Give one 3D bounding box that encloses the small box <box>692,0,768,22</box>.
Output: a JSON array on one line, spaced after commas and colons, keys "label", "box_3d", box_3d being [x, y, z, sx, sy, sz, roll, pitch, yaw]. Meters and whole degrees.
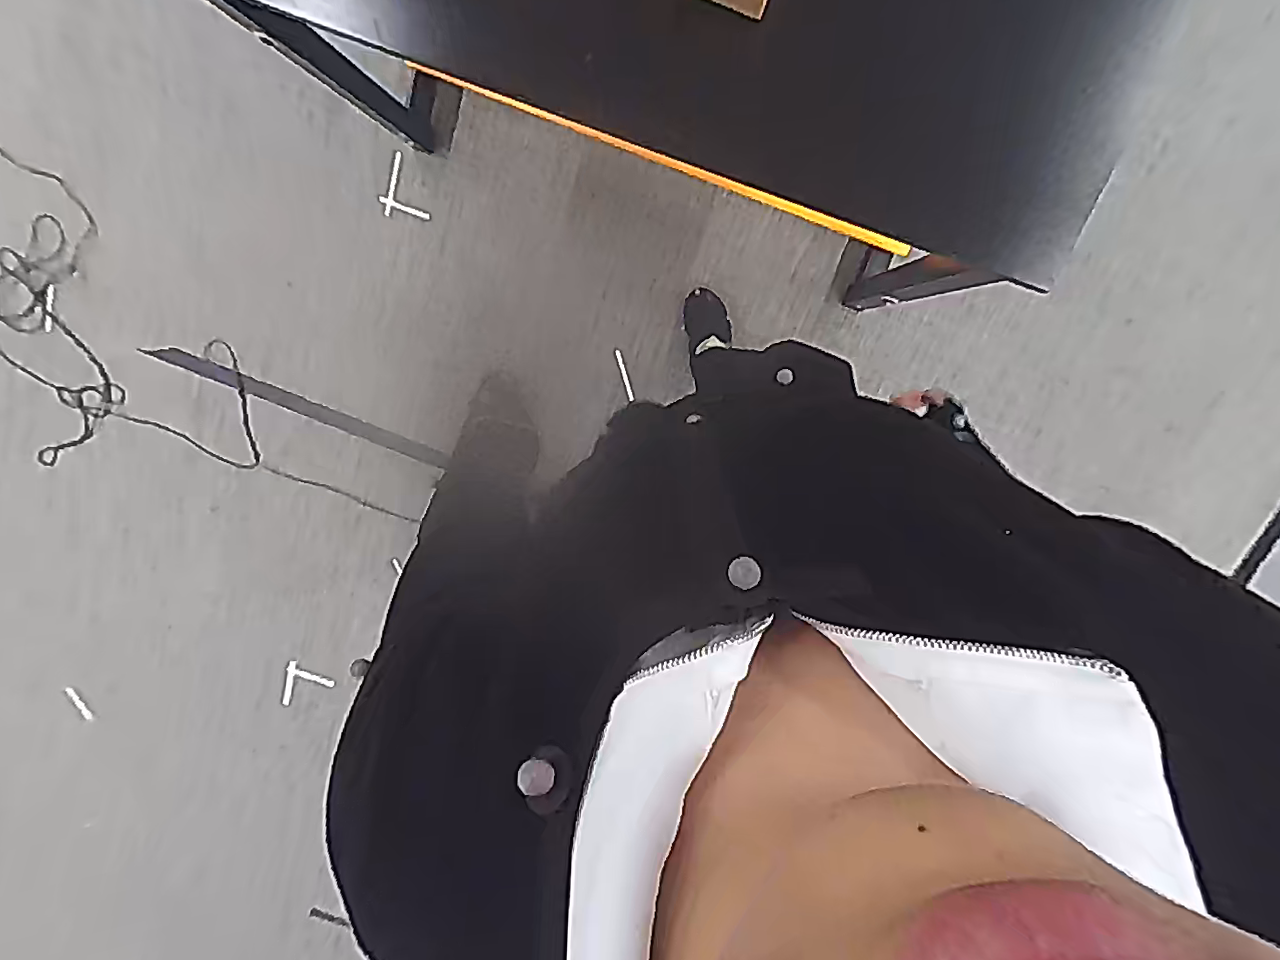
[{"label": "small box", "box_3d": [0.083, -0.607, 0.518, 0.168, 0.176, 0.179, 22, 105, 1]}]
